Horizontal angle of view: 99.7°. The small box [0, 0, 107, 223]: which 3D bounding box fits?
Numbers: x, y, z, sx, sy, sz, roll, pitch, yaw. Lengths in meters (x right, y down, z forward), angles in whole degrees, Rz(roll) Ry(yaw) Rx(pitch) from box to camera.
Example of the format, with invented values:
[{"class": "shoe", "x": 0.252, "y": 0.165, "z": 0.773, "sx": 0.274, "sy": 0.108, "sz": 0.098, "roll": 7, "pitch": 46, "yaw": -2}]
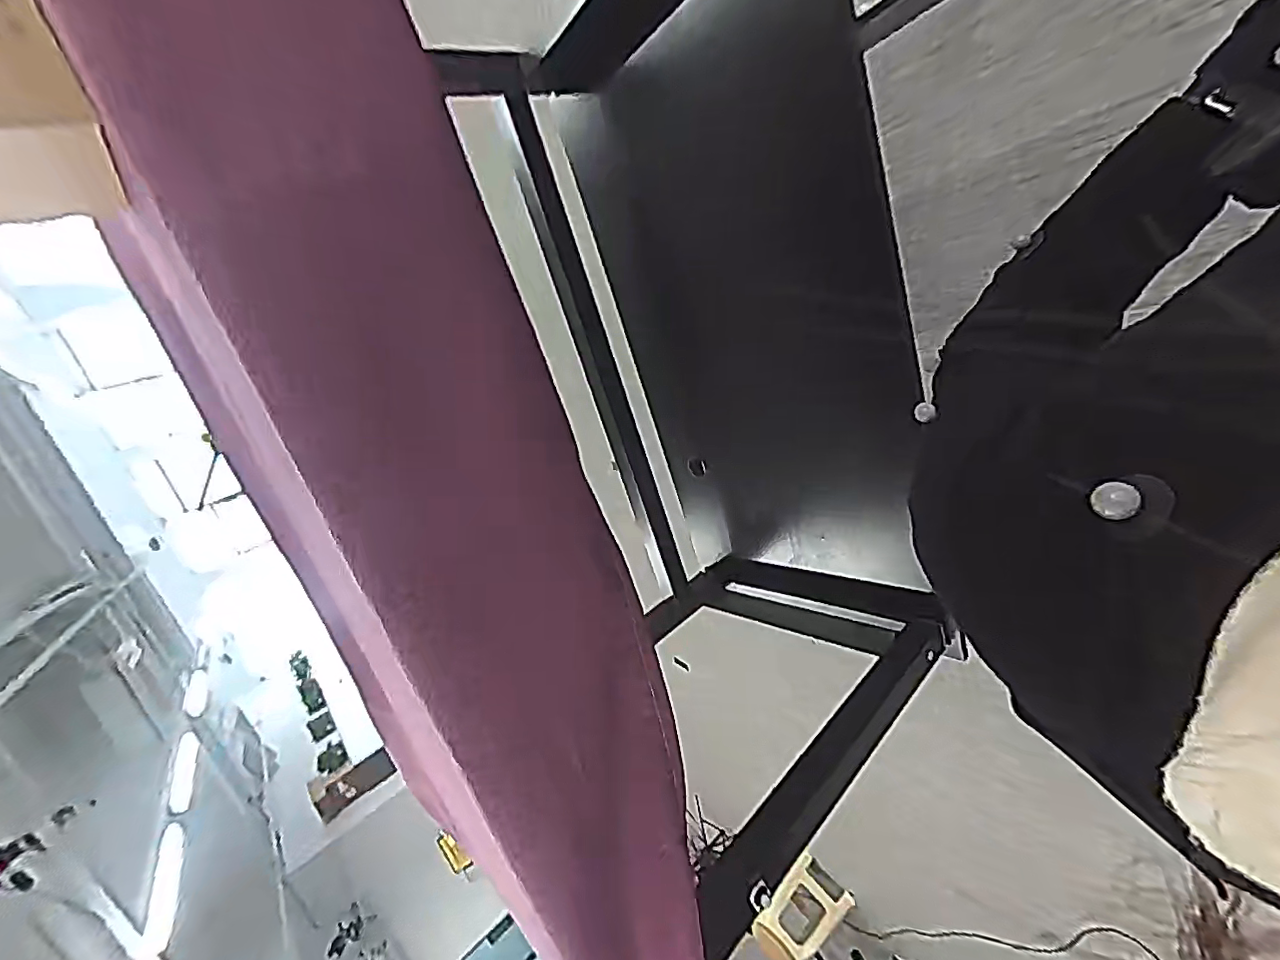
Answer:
[{"class": "small box", "x": -0.474, "y": -0.259, "z": 0.326, "sx": 0.179, "sy": 0.176, "sz": 0.168, "roll": 7, "pitch": 121, "yaw": 51}]
